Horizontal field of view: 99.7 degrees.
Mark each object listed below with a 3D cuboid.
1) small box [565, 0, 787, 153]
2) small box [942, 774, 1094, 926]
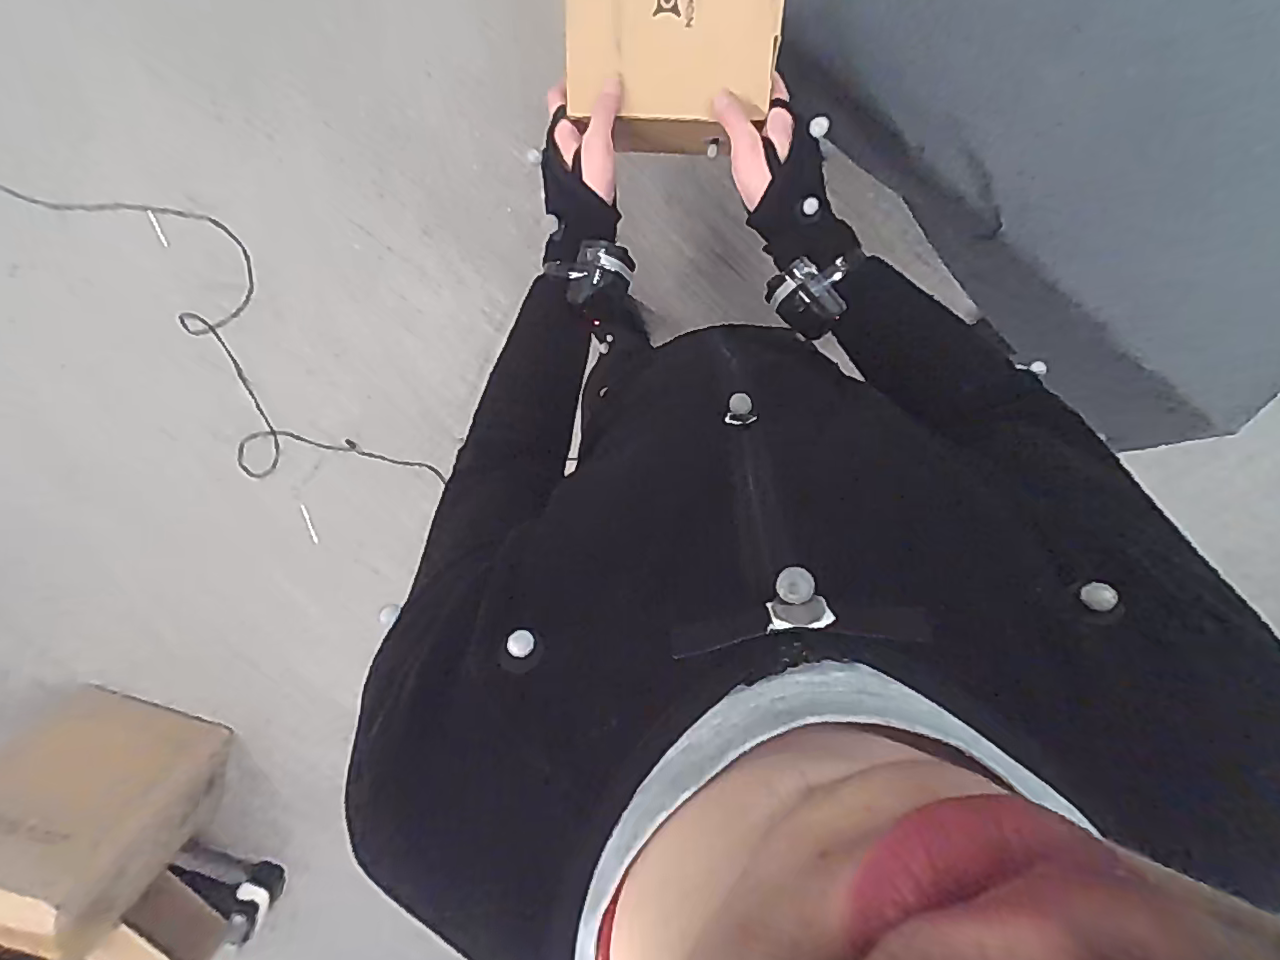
[{"bbox_3d":[0.034,-0.410,0.491,0.179,0.176,0.168,4,111,4],"label":"small box"},{"bbox_3d":[0.770,0.765,1.128,0.179,0.176,0.168,-42,104,15],"label":"small box"}]
